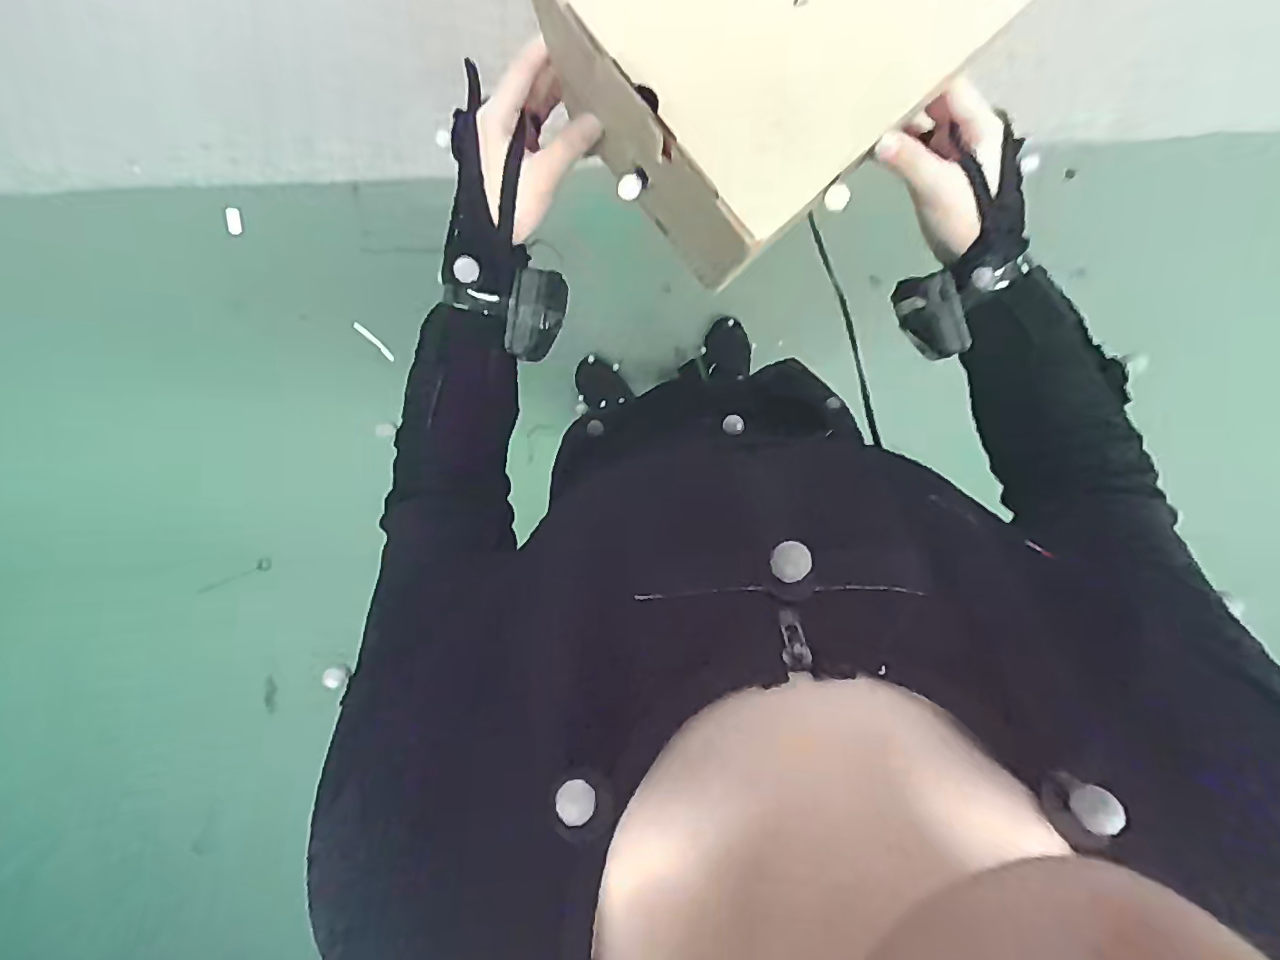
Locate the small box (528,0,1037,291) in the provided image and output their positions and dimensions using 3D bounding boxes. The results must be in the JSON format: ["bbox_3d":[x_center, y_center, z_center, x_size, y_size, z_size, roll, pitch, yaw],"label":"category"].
[{"bbox_3d":[0.066,-0.238,0.320,0.179,0.176,0.168,-41,98,9],"label":"small box"}]
